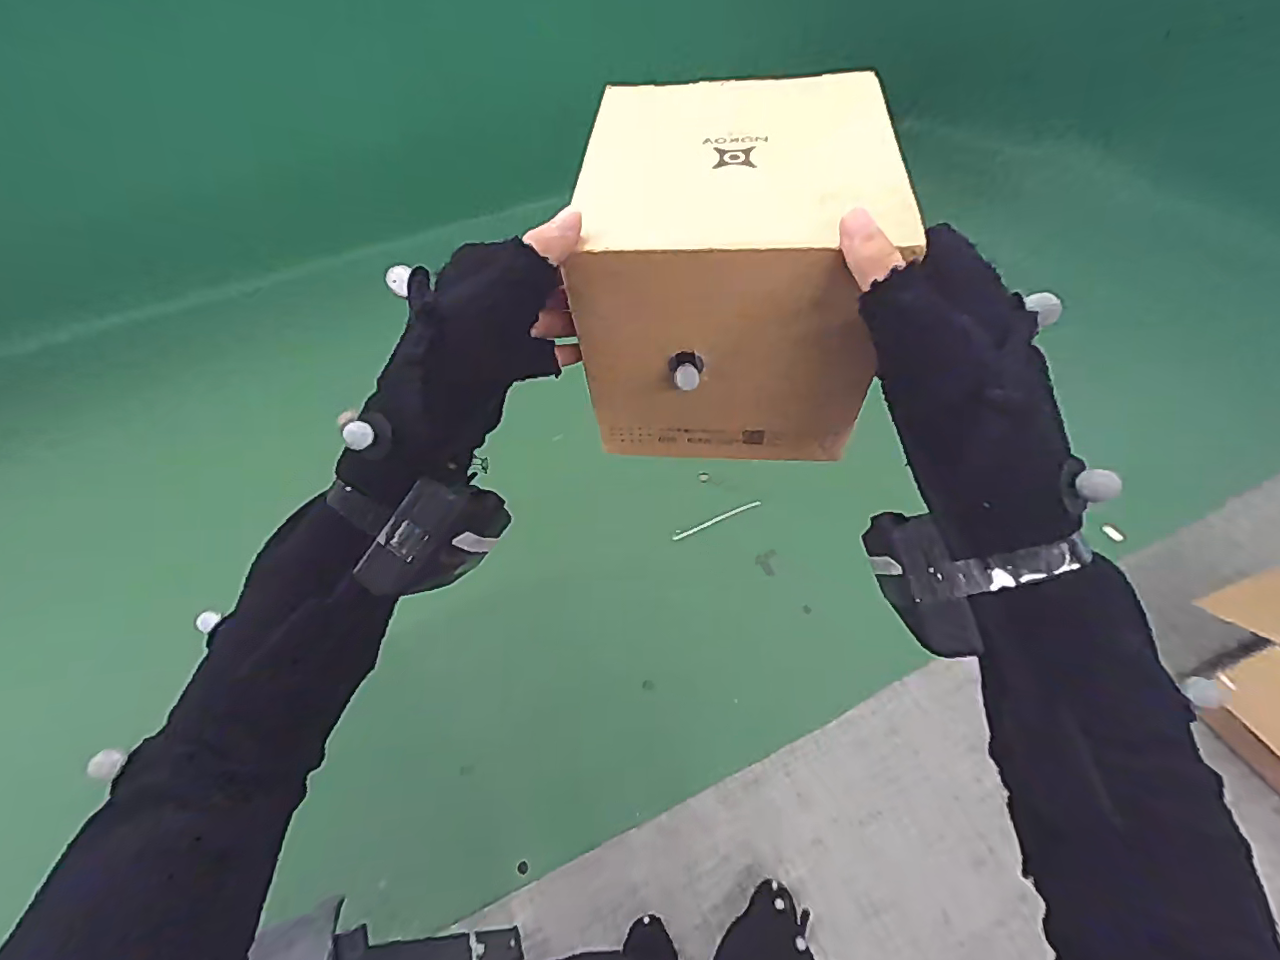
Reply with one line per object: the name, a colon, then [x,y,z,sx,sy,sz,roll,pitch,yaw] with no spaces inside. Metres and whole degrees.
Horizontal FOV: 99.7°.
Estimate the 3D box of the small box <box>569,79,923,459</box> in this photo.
small box: [0.062,-0.129,0.359,0.168,0.176,0.179,2,56,7]
